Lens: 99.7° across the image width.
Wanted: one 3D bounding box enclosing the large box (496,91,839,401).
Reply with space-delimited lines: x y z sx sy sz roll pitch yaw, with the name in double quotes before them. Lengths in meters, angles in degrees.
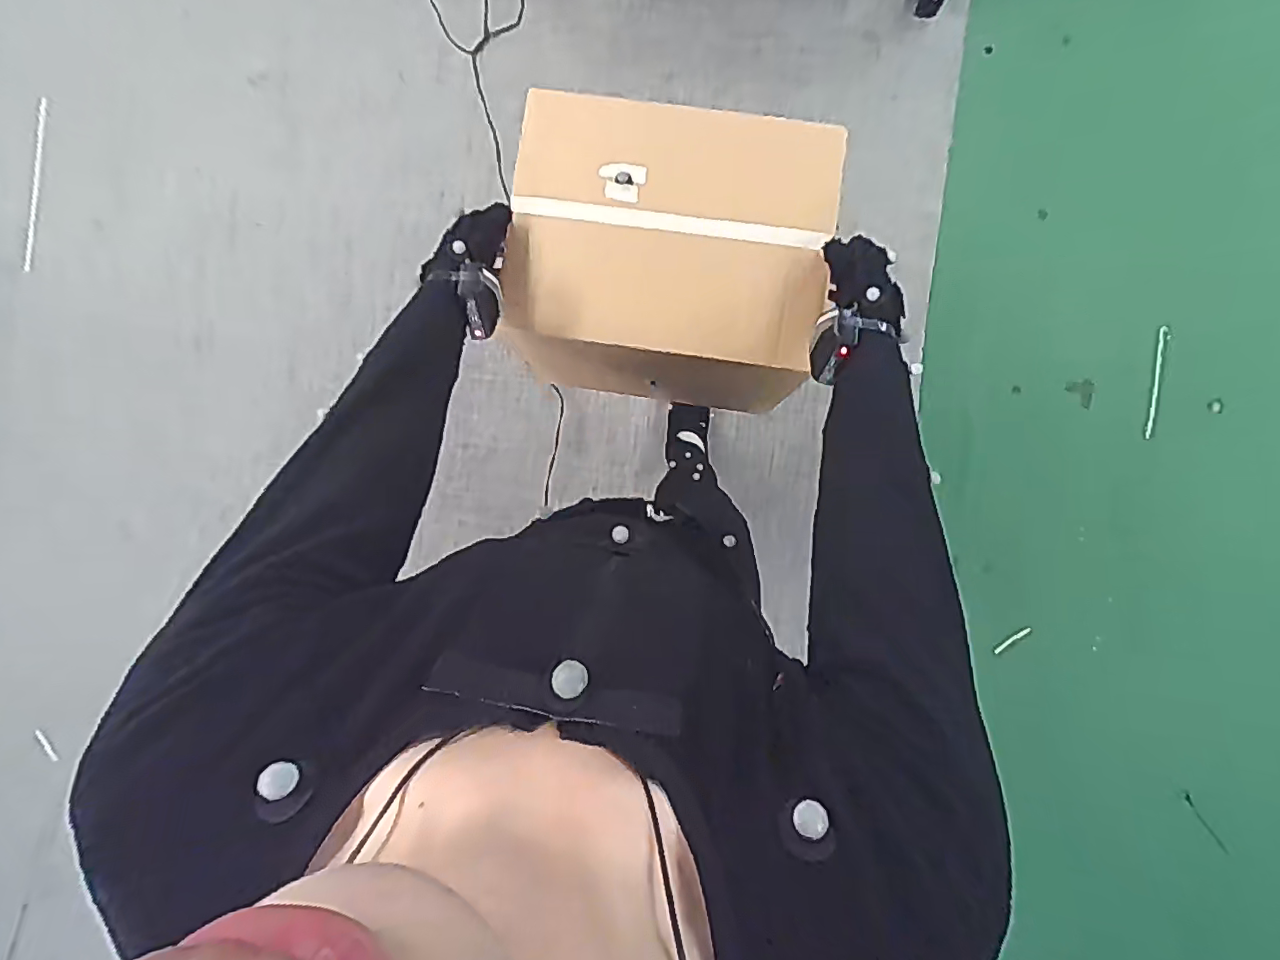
"large box" 0.041 -0.313 0.818 0.408 0.320 0.320 8 87 2
